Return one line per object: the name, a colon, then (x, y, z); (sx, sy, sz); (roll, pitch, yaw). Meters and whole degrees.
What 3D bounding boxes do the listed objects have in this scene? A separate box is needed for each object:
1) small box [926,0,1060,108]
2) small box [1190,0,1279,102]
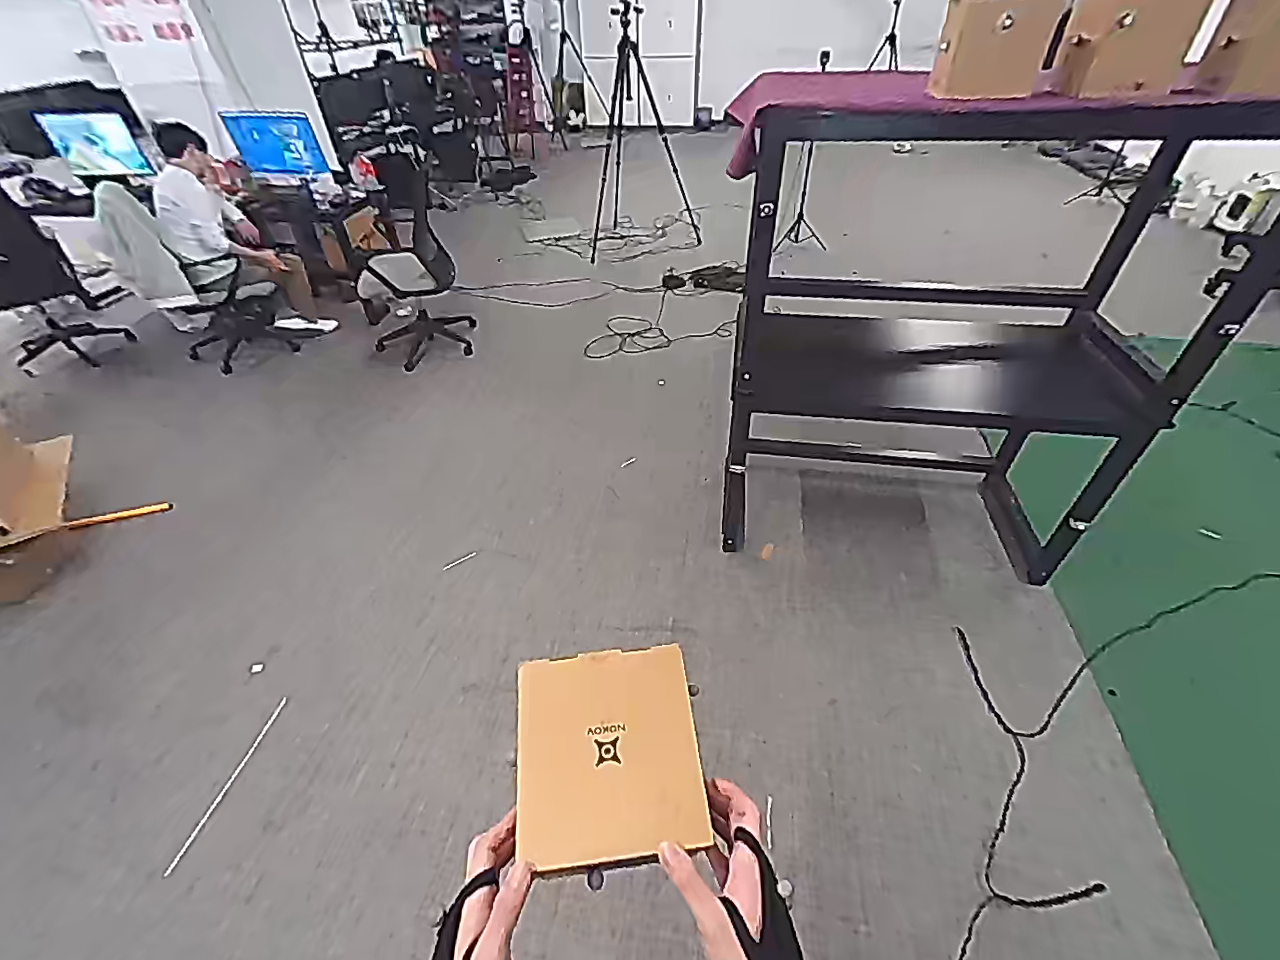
small box: (0.720, -0.887, 1.132); (0.179, 0.176, 0.168); (8, 41, 11)
small box: (1.239, -0.848, 1.052); (0.179, 0.176, 0.168); (7, 43, 13)
